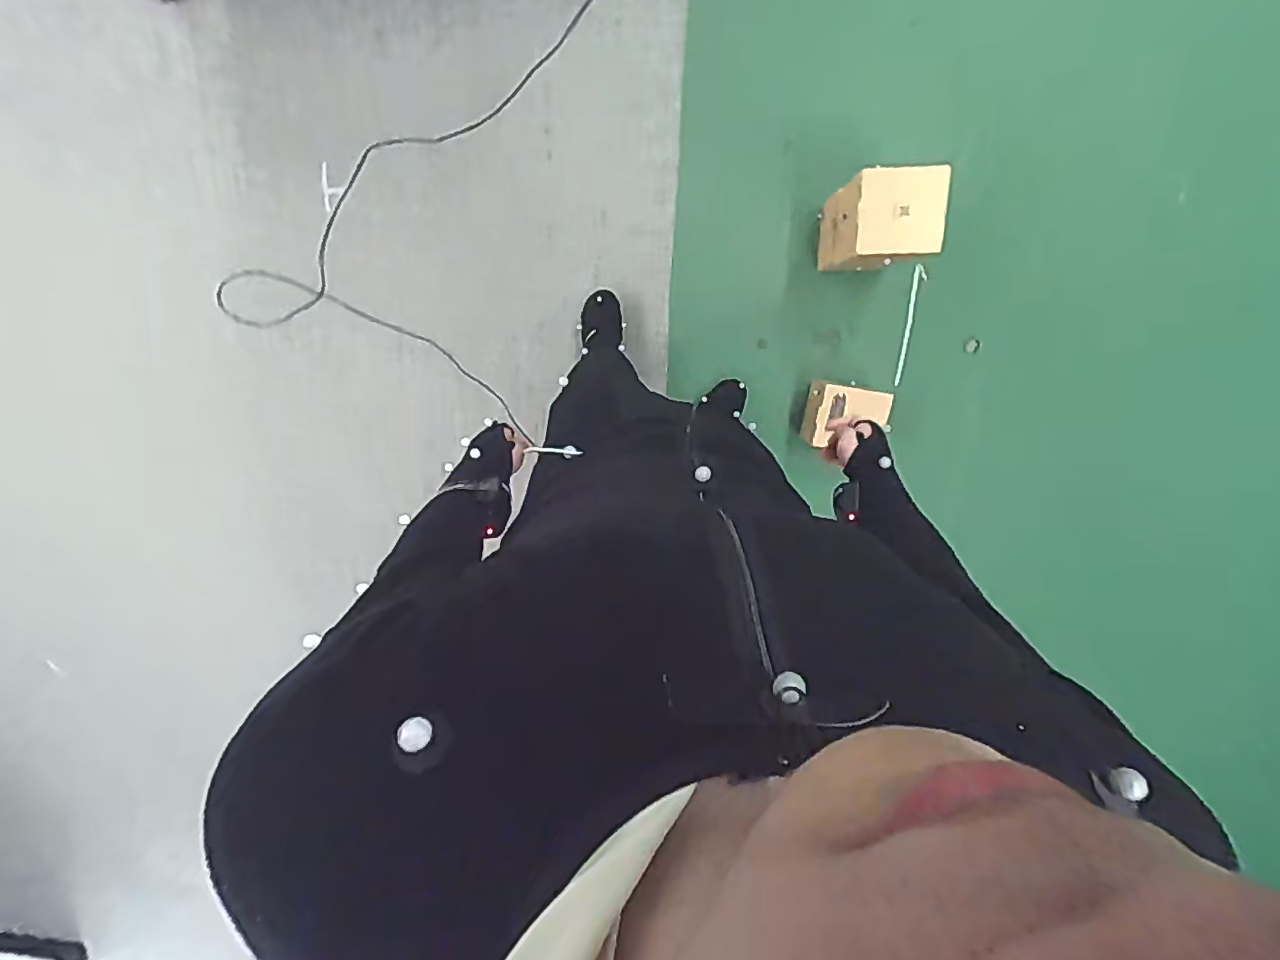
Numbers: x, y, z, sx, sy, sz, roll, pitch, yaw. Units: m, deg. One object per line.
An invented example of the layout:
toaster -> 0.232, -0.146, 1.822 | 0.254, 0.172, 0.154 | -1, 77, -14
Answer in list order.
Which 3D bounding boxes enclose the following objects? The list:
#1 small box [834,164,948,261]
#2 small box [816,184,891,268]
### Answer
small box -> 0.543, -0.583, 1.194 | 0.179, 0.176, 0.168 | 1, 105, 6
small box -> 0.550, -0.628, 1.350 | 0.179, 0.176, 0.168 | 2, 105, 4
